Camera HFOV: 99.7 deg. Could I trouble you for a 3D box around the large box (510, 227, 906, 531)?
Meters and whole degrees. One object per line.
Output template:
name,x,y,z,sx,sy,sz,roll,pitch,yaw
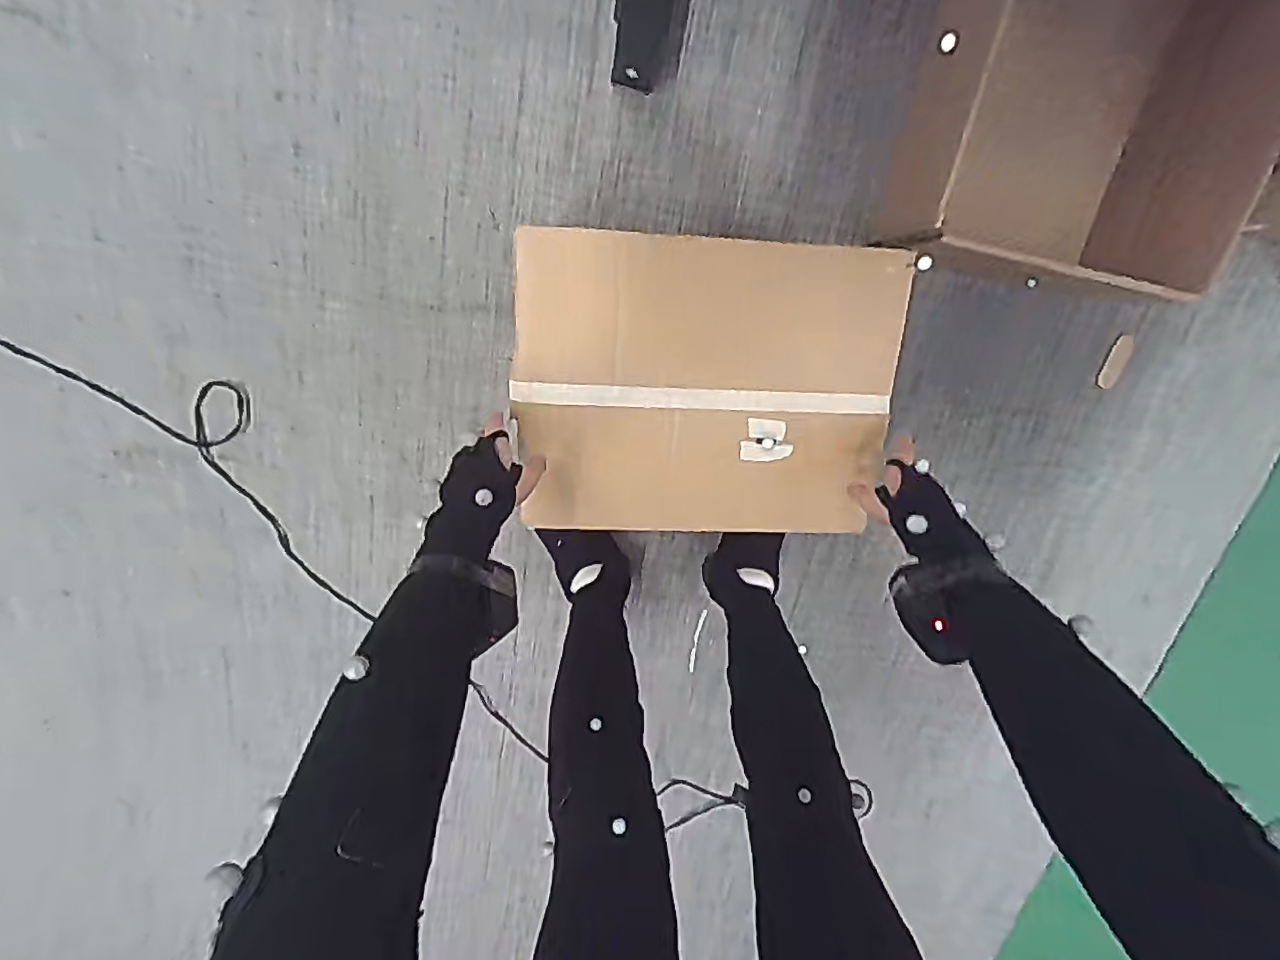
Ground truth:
large box,0.055,-0.133,0.713,0.408,0.320,0.320,1,108,-6
